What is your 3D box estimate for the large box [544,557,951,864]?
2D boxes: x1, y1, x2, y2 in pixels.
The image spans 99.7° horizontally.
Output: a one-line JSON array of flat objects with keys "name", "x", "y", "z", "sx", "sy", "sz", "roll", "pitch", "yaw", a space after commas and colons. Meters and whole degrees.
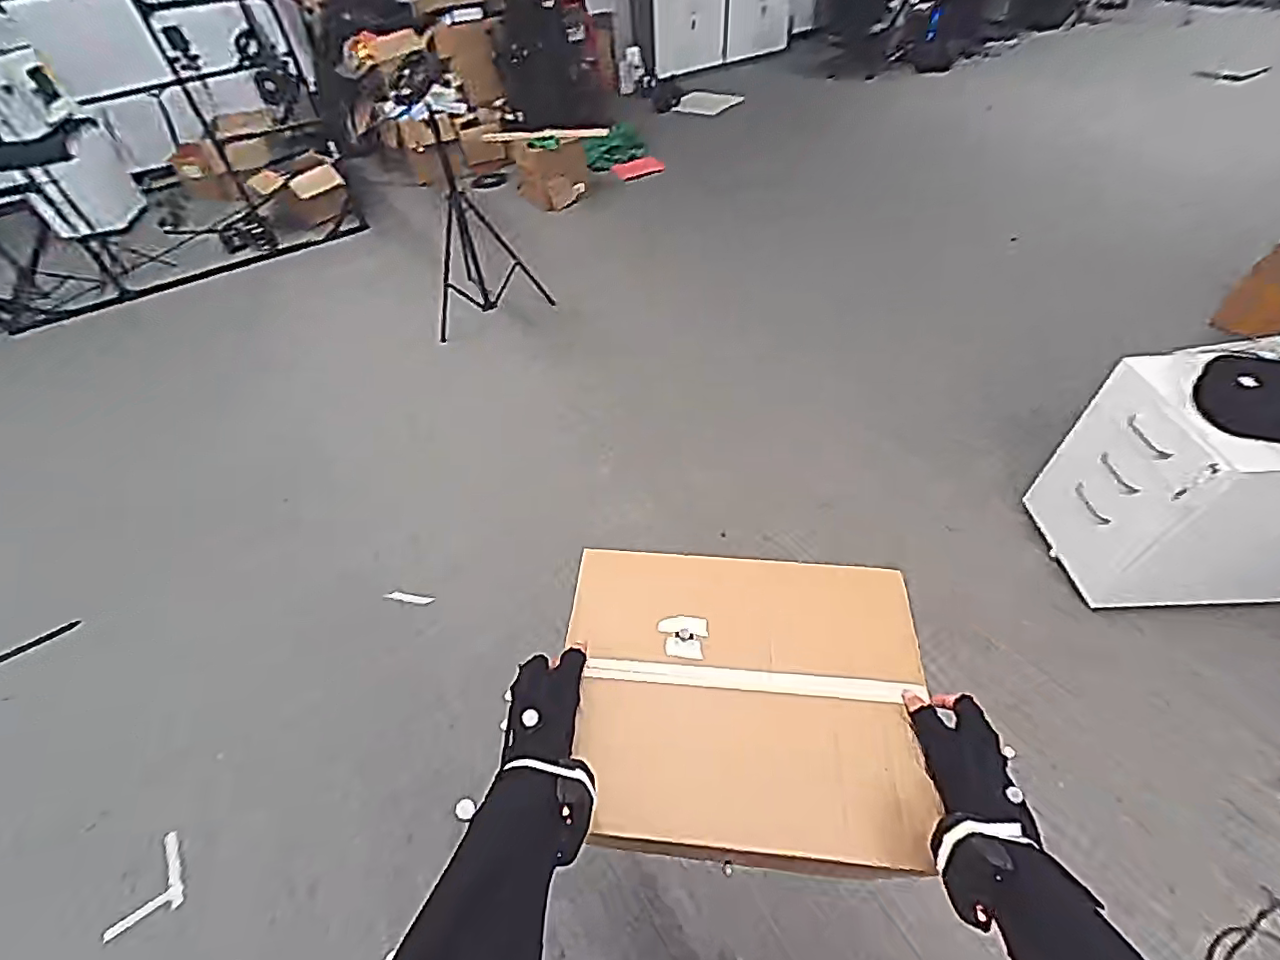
[{"name": "large box", "x": 0.120, "y": 0.318, "z": 0.734, "sx": 0.408, "sy": 0.320, "sz": 0.320, "roll": 3, "pitch": 53, "yaw": 5}]
